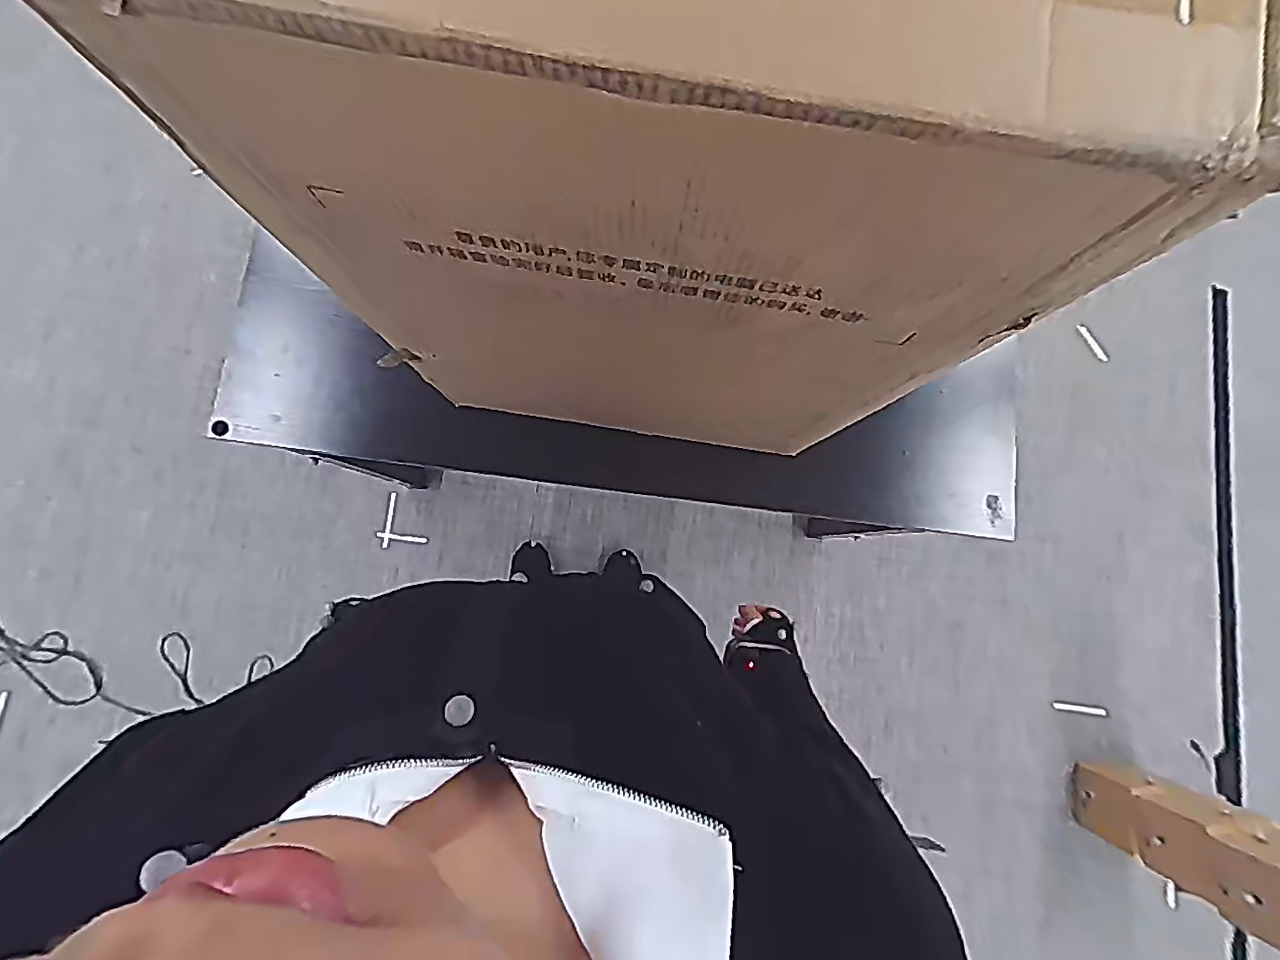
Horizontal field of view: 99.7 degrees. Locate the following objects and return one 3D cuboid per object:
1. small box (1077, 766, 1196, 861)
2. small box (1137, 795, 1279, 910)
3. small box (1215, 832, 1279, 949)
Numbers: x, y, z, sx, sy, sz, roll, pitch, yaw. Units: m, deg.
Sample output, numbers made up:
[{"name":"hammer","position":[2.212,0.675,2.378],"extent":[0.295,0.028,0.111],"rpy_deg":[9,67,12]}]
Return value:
[{"name":"small box","position":[1.290,0.863,1.406],"extent":[0.179,0.176,0.168],"rpy_deg":[4,81,-1]},{"name":"small box","position":[1.311,0.845,1.243],"extent":[0.179,0.176,0.168],"rpy_deg":[0,81,-3]},{"name":"small box","position":[1.314,0.833,1.079],"extent":[0.179,0.176,0.168],"rpy_deg":[-2,81,-3]}]
